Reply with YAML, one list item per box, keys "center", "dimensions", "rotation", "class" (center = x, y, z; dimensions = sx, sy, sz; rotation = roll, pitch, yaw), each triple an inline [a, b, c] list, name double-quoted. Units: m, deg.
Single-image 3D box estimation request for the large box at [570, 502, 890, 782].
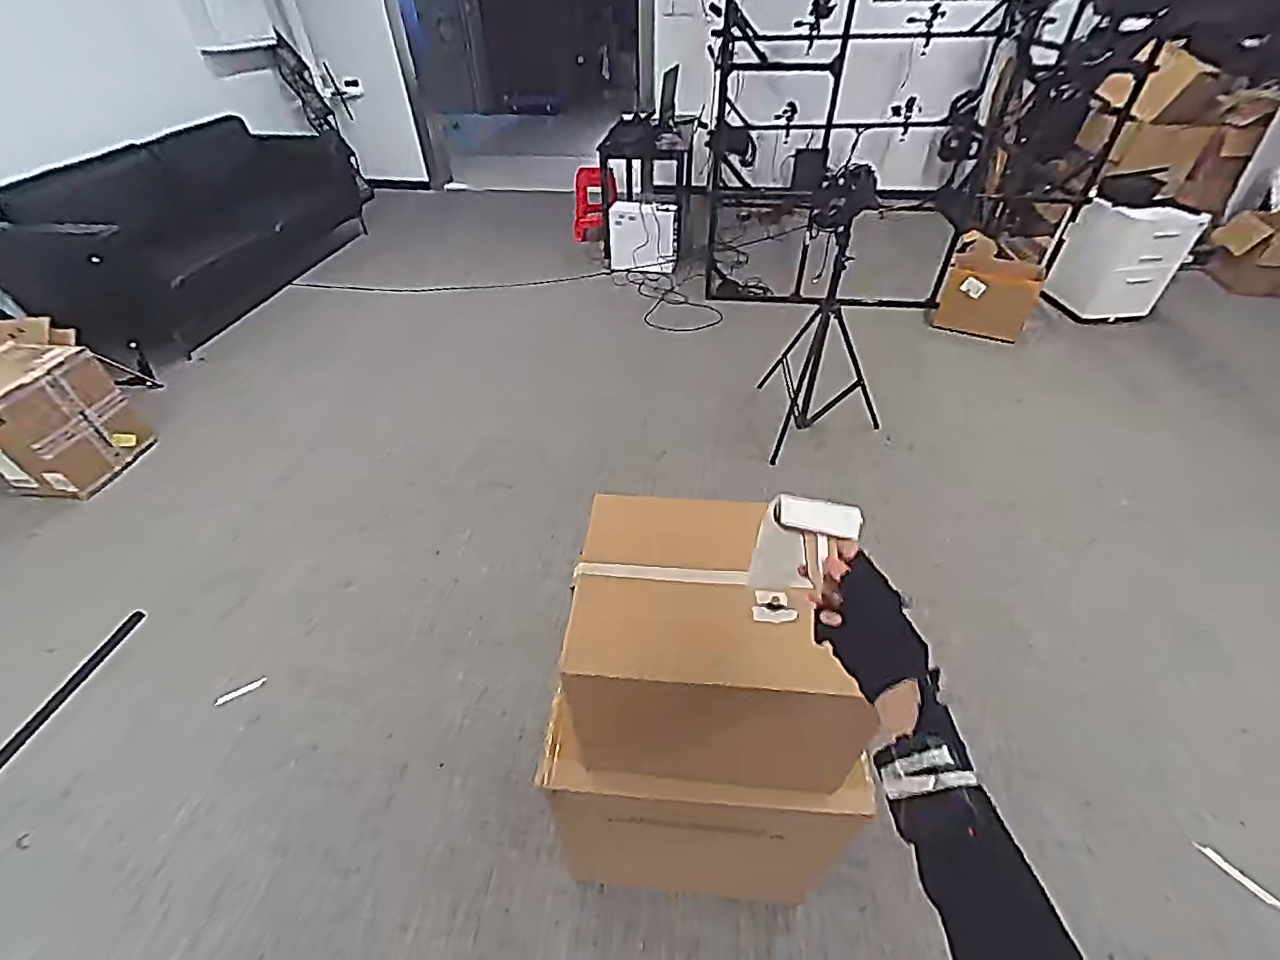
- center: [0.118, 0.256, 0.872]
  dimensions: [0.408, 0.320, 0.320]
  rotation: [3, 43, 4]
  class: "large box"
